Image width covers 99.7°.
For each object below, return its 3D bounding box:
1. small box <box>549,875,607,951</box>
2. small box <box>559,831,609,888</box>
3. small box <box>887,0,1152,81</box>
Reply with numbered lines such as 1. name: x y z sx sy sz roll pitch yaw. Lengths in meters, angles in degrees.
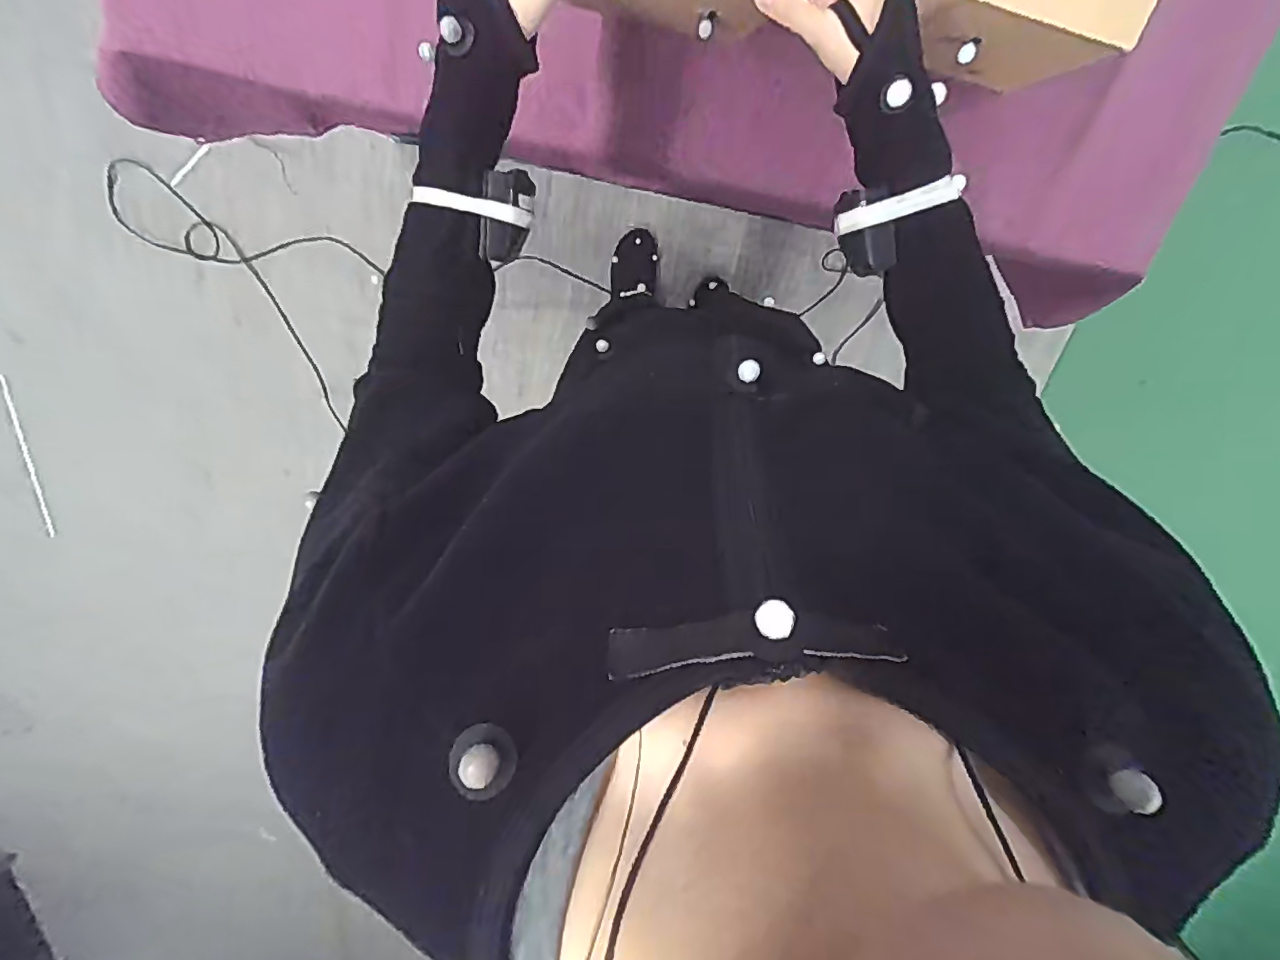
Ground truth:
1. small box: -0.232 1.634 2.044 0.179 0.176 0.168 16 112 -11
2. small box: -0.226 1.573 2.198 0.168 0.176 0.179 16 112 -11
3. small box: 0.353 -0.496 0.486 0.168 0.176 0.179 10 113 -7
